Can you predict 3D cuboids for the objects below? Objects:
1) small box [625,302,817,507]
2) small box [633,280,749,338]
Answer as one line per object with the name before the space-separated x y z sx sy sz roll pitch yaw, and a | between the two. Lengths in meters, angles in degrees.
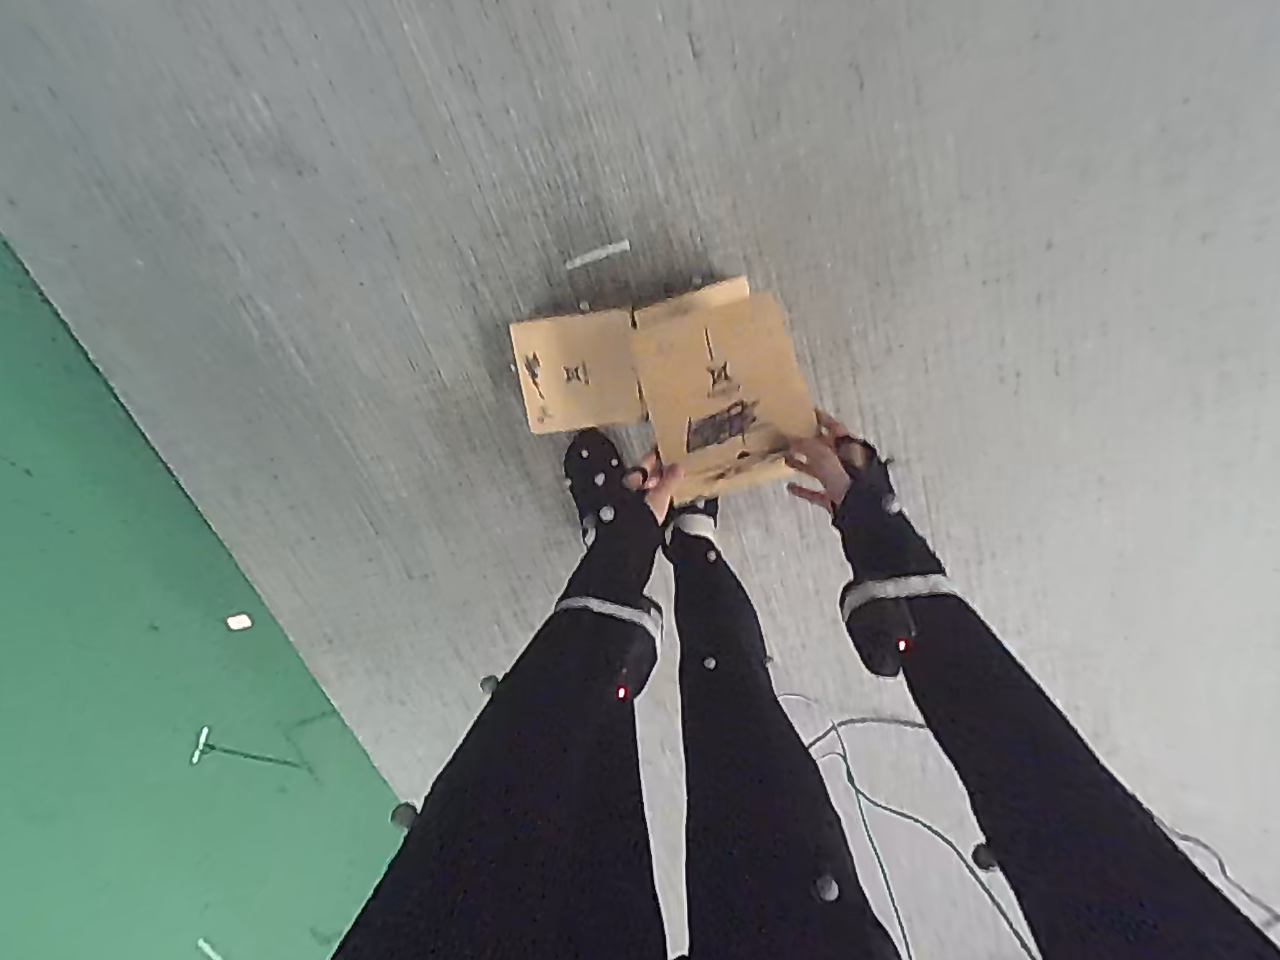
small box | 0.091 -0.073 0.643 0.168 0.176 0.179 -15 75 3
small box | 0.090 -0.205 0.861 0.168 0.176 0.179 -18 111 6
